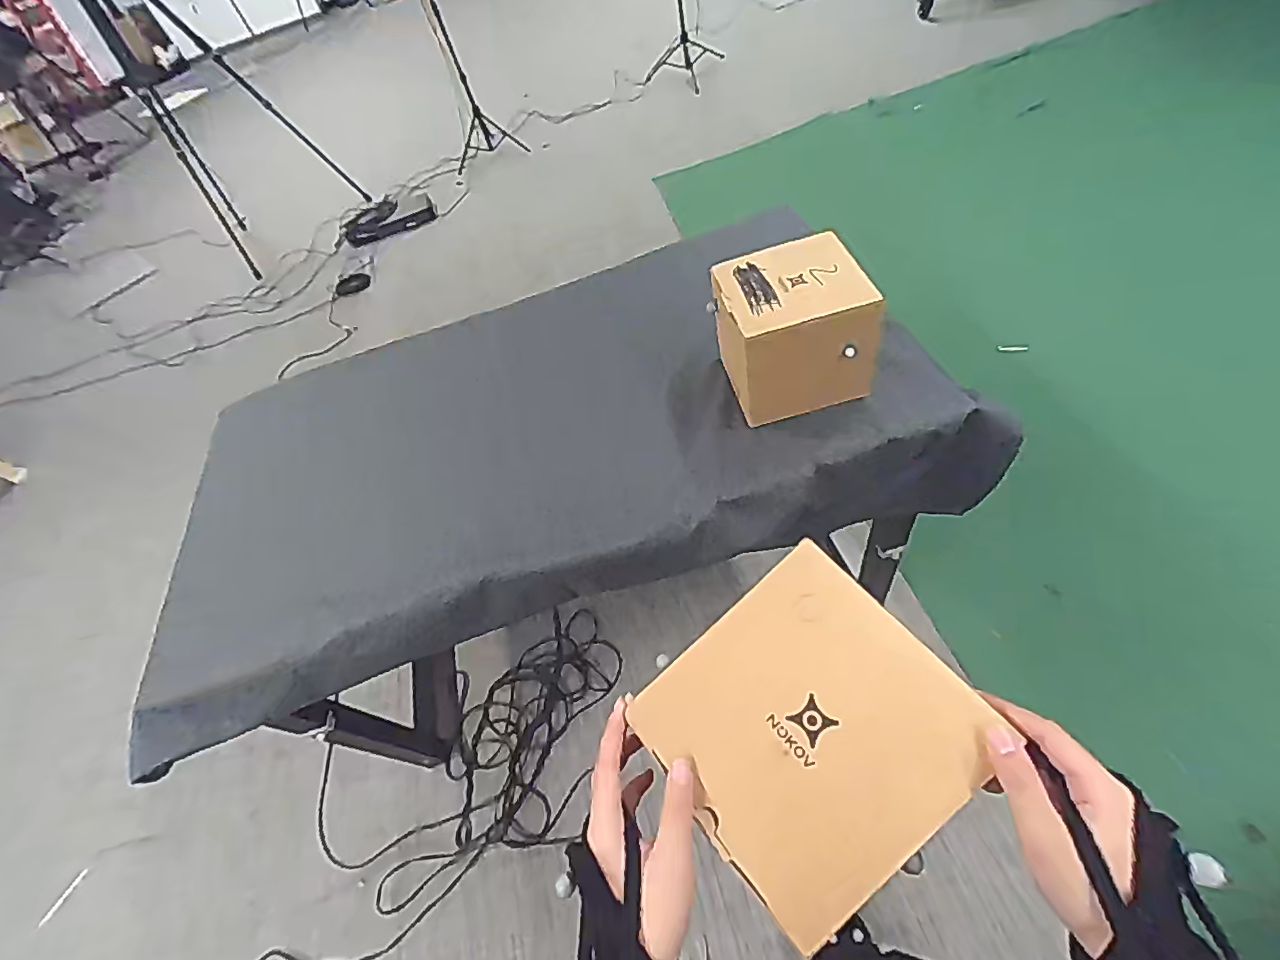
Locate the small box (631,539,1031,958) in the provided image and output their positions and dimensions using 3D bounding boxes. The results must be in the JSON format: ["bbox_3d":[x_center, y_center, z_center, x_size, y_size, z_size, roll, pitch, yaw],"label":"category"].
[{"bbox_3d":[0.124,0.174,0.400,0.179,0.176,0.168,-43,66,-3],"label":"small box"}]
